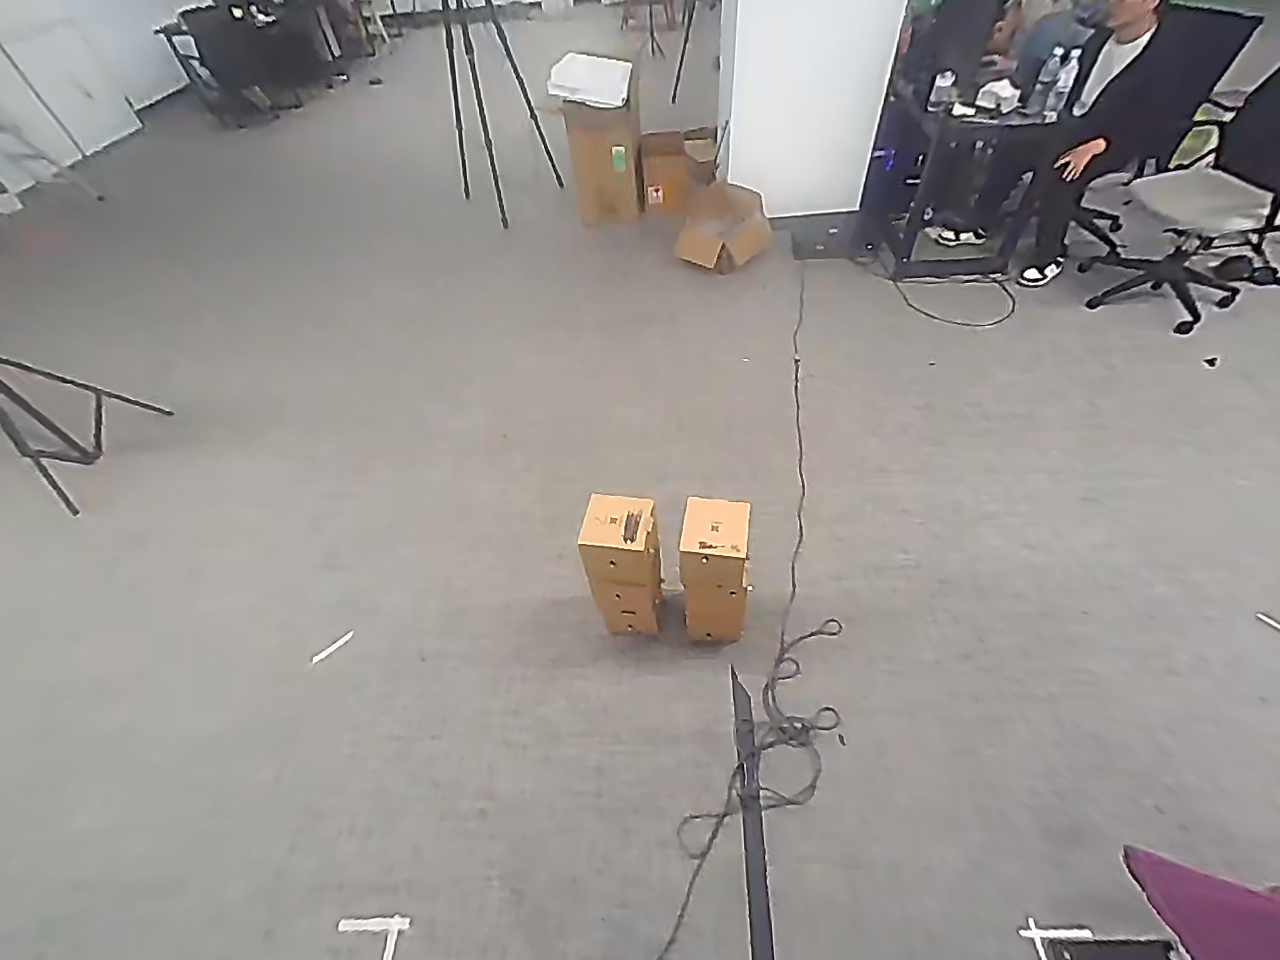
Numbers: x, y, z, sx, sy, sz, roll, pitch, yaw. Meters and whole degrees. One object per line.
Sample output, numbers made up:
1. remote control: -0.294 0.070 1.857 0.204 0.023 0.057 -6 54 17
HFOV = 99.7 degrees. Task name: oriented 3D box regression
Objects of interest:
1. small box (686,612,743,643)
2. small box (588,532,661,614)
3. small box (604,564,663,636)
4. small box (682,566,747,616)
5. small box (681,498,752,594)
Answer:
1. small box: 0.226 0.386 1.681 0.168 0.176 0.179 -1 49 5
2. small box: -0.037 0.276 1.581 0.179 0.176 0.168 5 50 11
3. small box: -0.018 0.371 1.714 0.168 0.176 0.179 2 50 8
4. small box: 0.214 0.281 1.559 0.179 0.176 0.168 0 49 6
5. small box: 0.200 0.175 1.434 0.168 0.176 0.179 6 49 11
